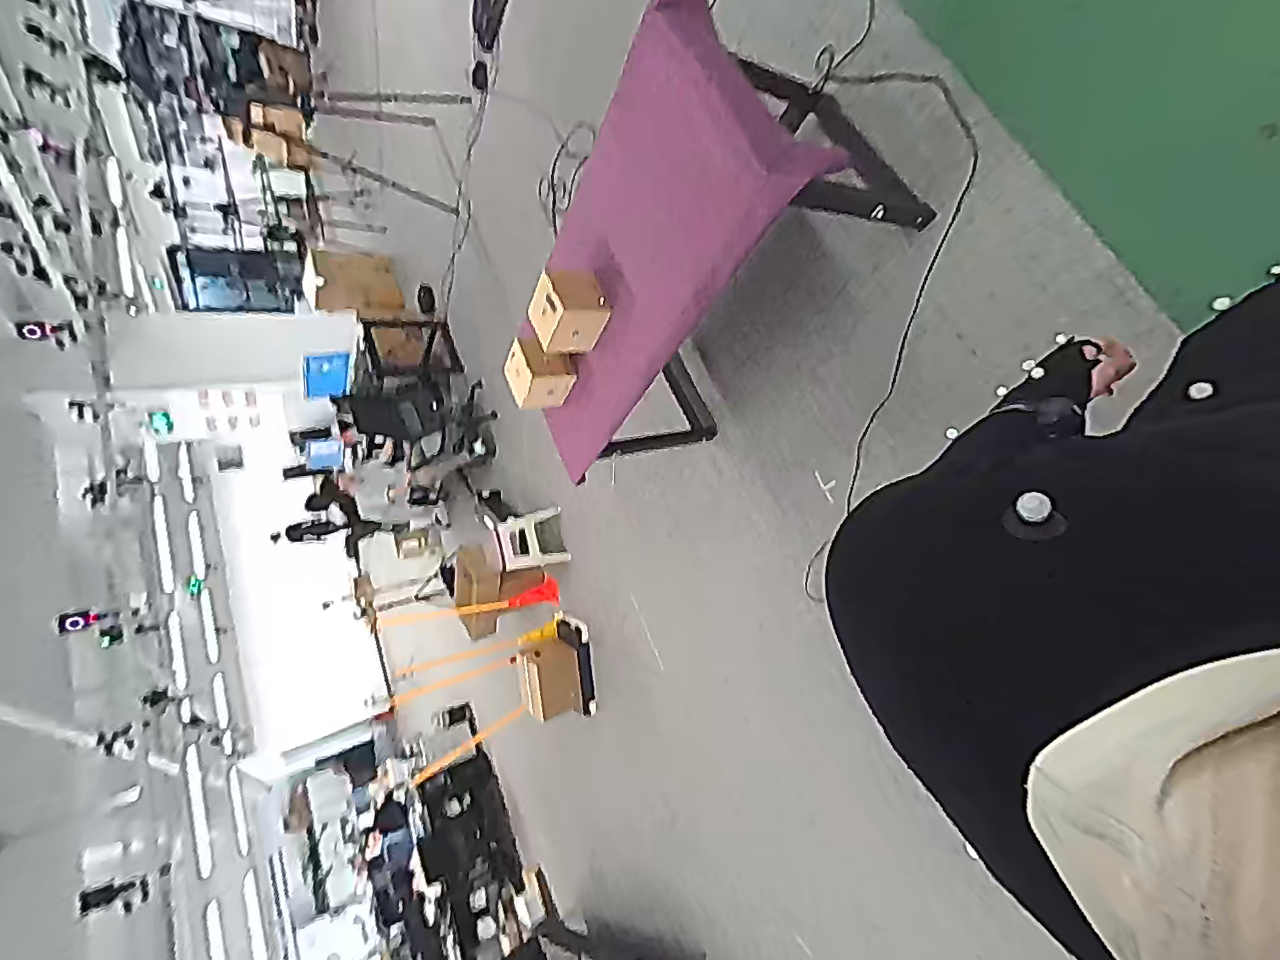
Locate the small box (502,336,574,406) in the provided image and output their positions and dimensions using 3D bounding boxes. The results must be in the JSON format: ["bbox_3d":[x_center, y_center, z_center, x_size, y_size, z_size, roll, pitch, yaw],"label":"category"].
[{"bbox_3d":[-0.349,-0.379,1.862,0.168,0.176,0.179,-48,61,48],"label":"small box"}]

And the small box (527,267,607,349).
[{"bbox_3d":[-0.218,-0.519,1.642,0.179,0.176,0.168,-49,60,49],"label":"small box"}]
